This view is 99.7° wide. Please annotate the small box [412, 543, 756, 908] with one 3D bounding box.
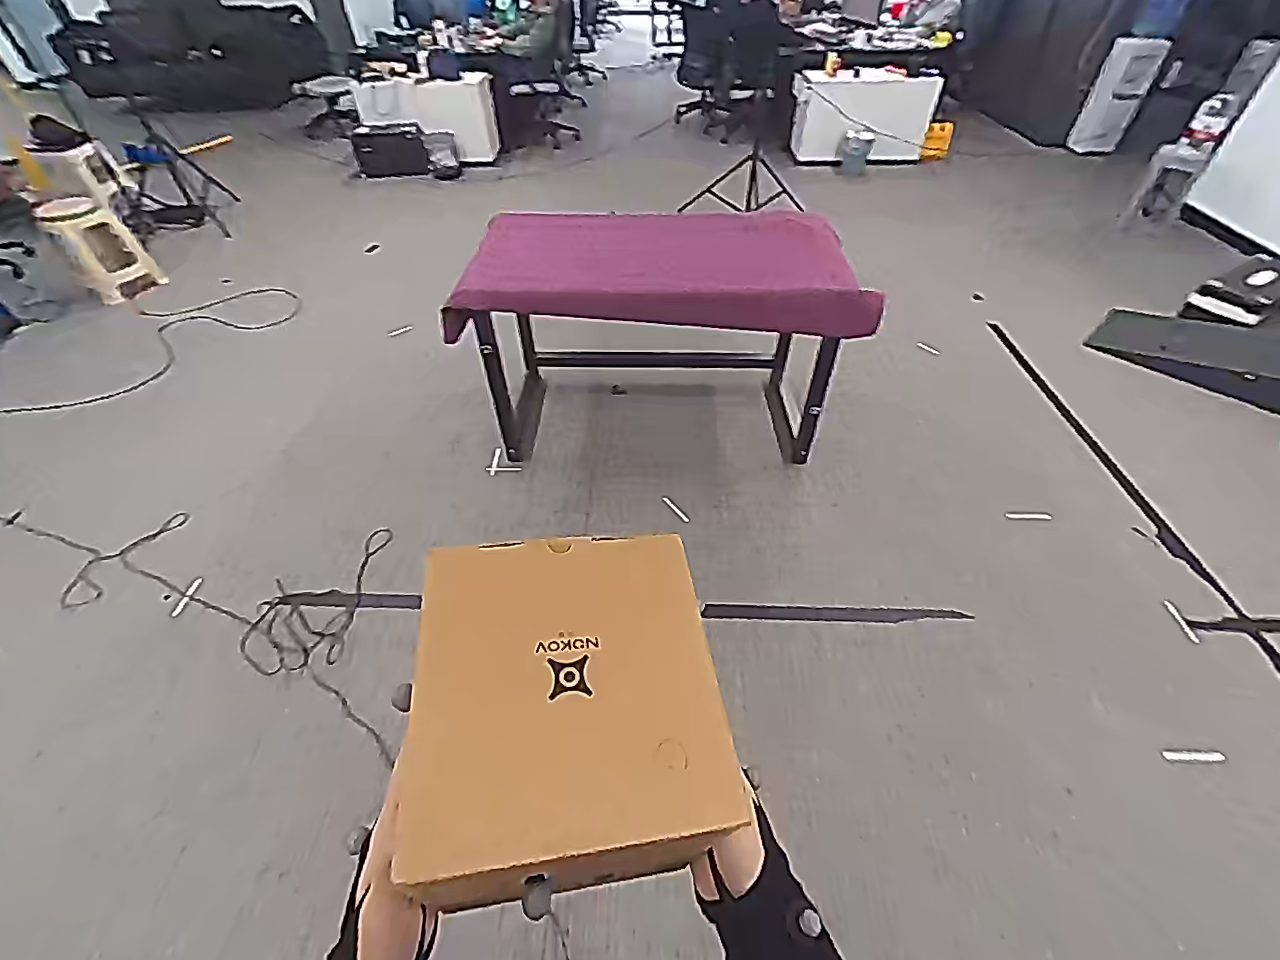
[{"bbox_3d":[-0.043,0.165,0.364,0.168,0.176,0.179,-2,47,-12],"label":"small box"}]
